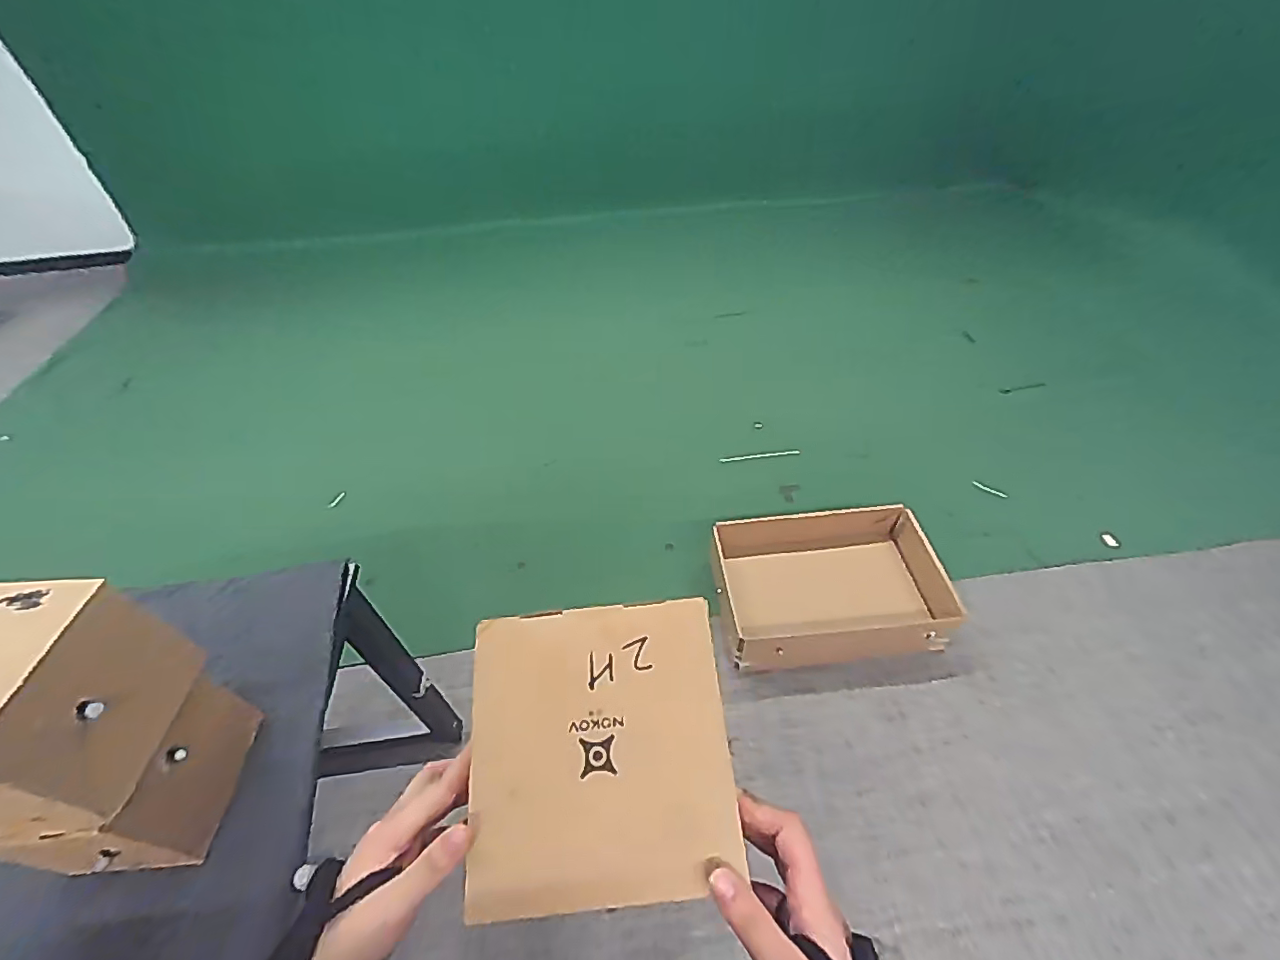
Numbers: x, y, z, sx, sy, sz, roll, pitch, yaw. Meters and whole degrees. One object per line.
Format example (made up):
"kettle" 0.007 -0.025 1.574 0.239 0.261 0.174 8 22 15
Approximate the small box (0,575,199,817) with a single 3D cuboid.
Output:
"small box" -0.587 0.211 0.519 0.168 0.176 0.179 -2 47 1

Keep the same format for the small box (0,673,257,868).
"small box" -0.597 0.334 0.629 0.168 0.176 0.179 -4 46 -1
